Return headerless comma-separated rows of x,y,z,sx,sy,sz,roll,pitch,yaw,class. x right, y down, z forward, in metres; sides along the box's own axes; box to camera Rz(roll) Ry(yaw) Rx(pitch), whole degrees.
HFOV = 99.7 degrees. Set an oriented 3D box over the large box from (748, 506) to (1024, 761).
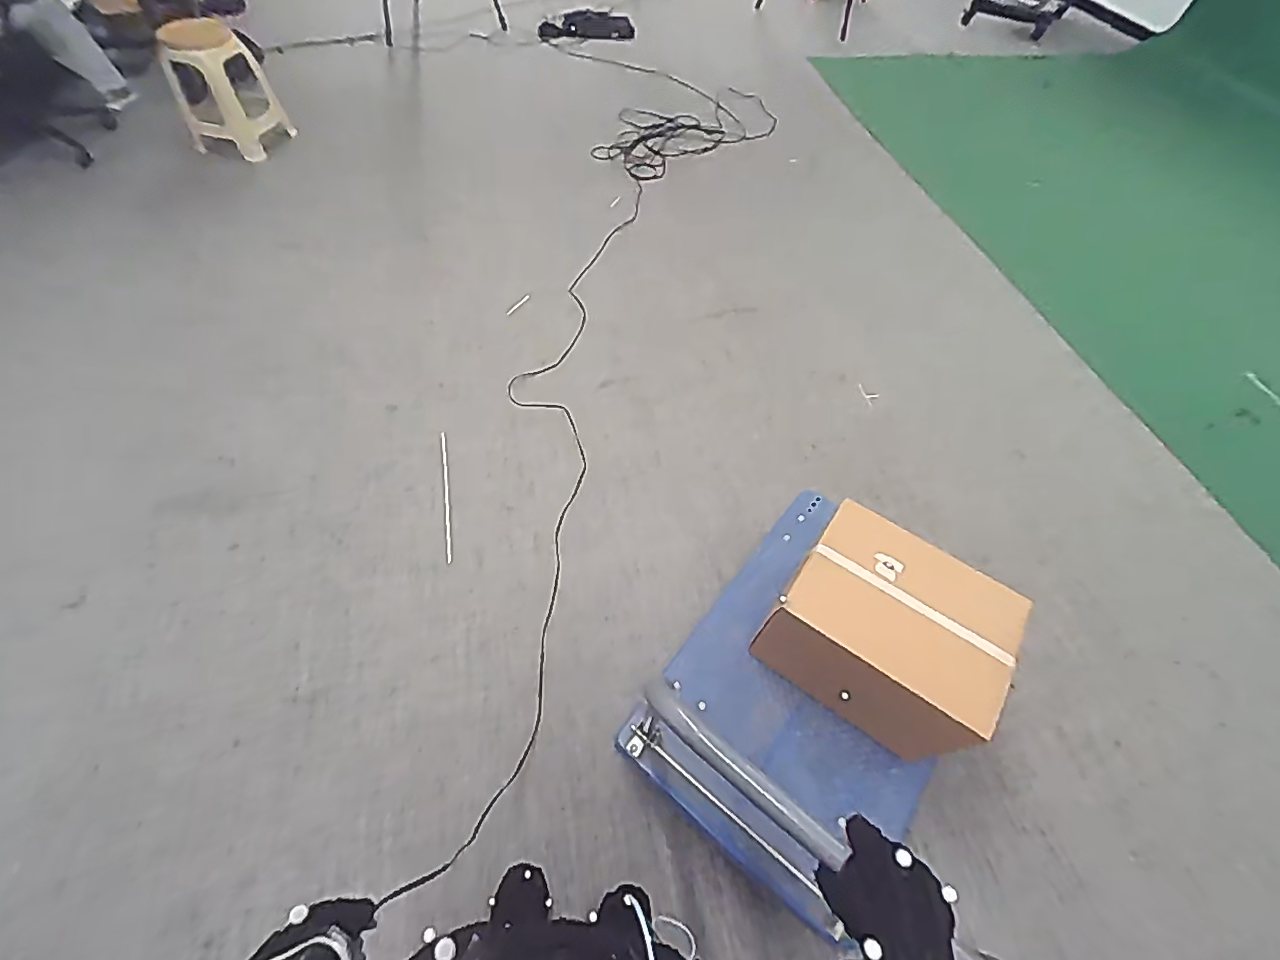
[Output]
0.504,0.334,1.167,0.408,0.320,0.320,31,60,17,large box
